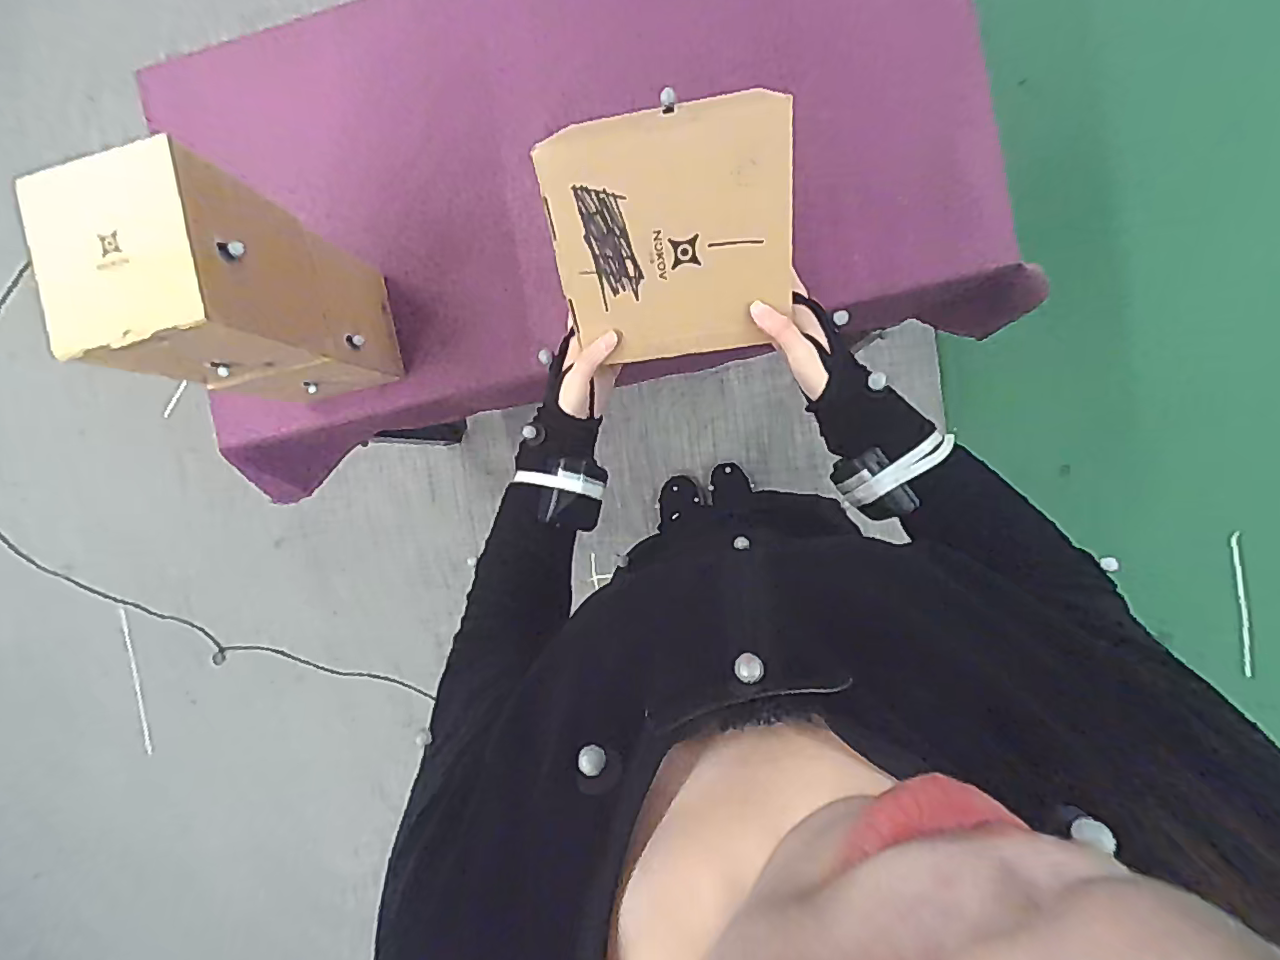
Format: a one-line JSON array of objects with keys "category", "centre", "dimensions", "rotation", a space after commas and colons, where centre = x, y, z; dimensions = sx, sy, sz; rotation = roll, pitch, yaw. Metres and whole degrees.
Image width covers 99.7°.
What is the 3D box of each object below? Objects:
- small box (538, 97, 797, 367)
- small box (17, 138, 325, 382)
[{"category": "small box", "centre": [0.031, -0.216, 0.466], "dimensions": [0.179, 0.176, 0.168], "rotation": [-6, 126, 7]}, {"category": "small box", "centre": [-0.480, -0.216, 0.580], "dimensions": [0.168, 0.176, 0.179], "rotation": [-12, 92, 6]}]
